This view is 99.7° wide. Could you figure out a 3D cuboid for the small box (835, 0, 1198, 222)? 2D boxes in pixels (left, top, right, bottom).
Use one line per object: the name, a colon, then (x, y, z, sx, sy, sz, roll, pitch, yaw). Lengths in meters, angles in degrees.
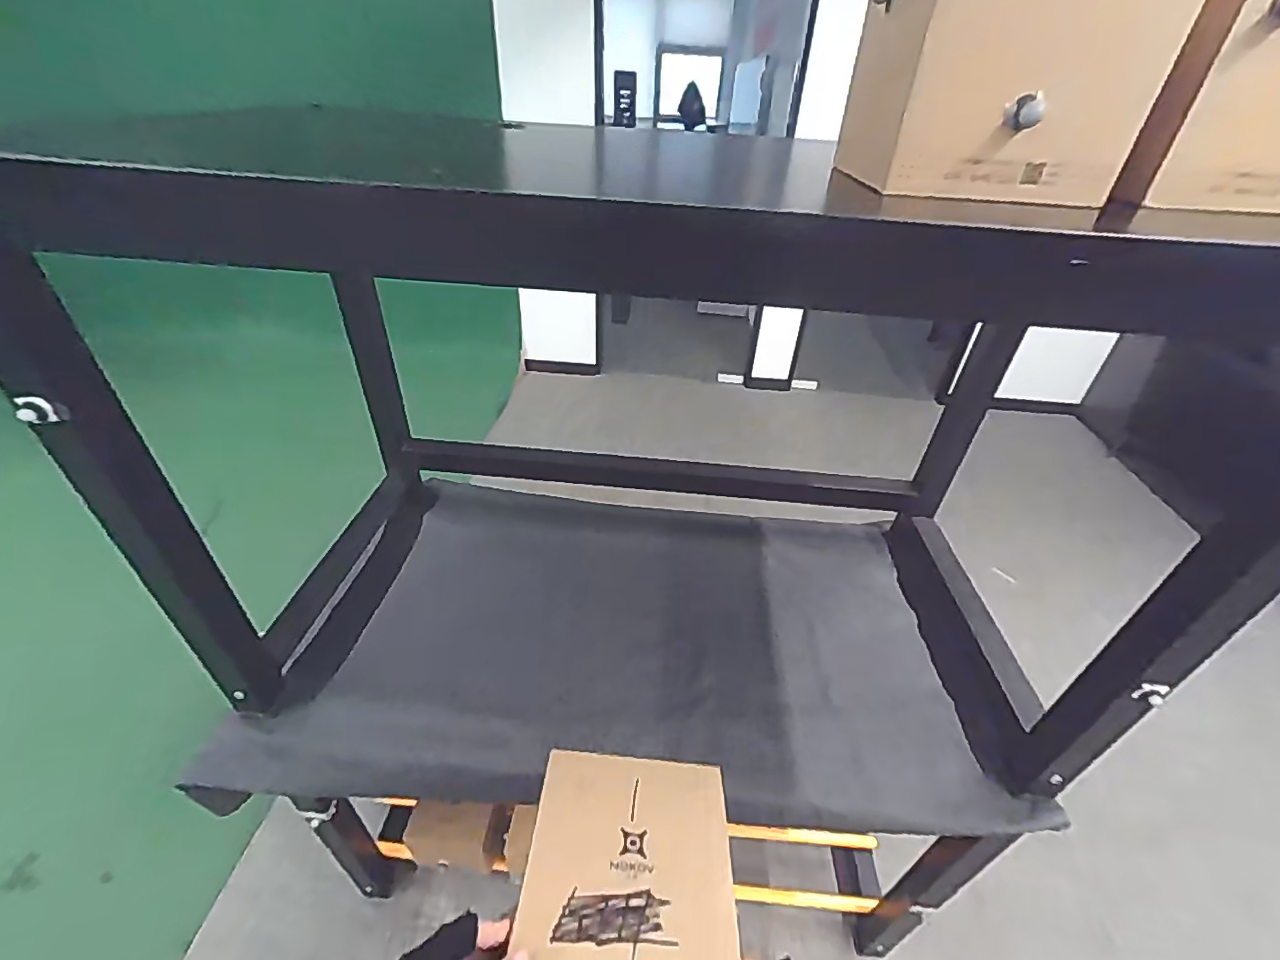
small box: (0.272, -0.320, 0.435, 0.168, 0.176, 0.179, 4, 37, 2)
